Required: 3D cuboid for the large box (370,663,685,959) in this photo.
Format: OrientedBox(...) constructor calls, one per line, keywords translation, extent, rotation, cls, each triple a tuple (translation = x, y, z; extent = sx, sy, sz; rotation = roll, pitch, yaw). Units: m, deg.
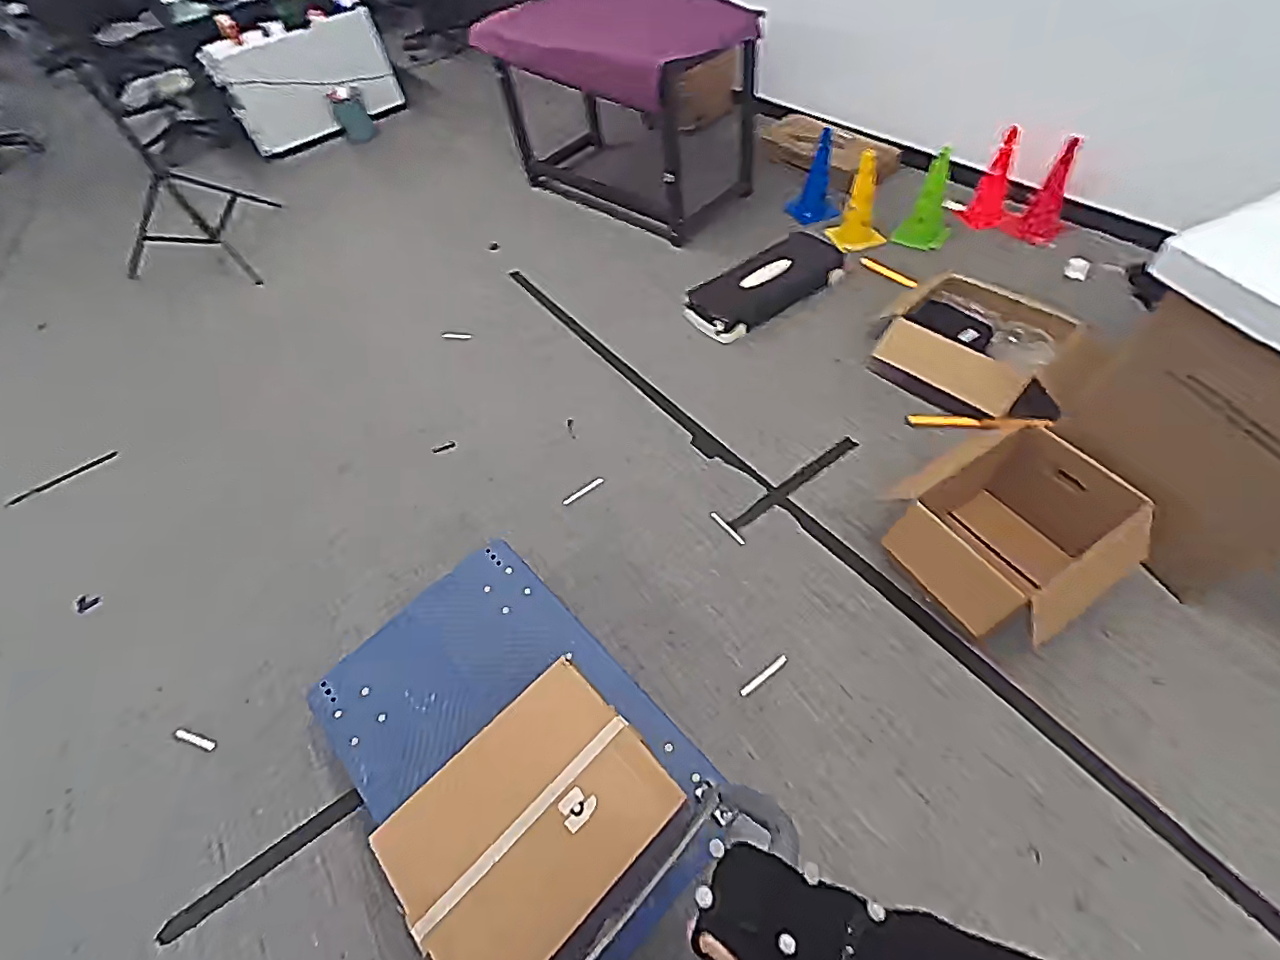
OrientedBox(translation=(-0.164, 0.613, 0.953), extent=(0.408, 0.320, 0.320), rotation=(-40, 64, -20), cls="large box")
